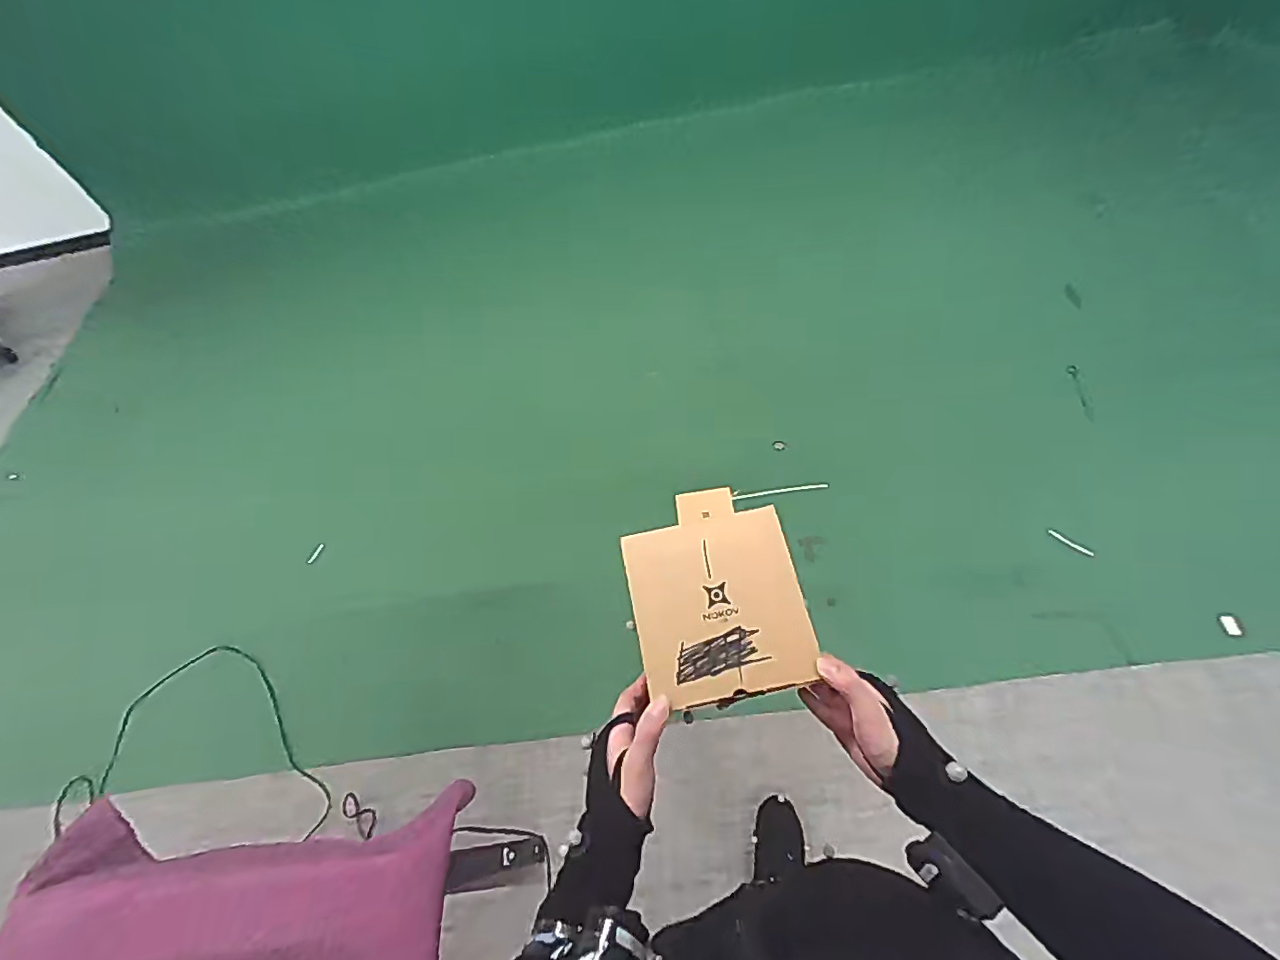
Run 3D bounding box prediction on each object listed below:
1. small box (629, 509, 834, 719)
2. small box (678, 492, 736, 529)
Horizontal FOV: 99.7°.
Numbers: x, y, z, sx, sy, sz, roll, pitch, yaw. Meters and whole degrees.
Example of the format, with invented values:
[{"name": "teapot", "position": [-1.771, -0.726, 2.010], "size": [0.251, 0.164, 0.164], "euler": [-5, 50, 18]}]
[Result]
[{"name": "small box", "position": [0.089, 0.153, 0.595], "size": [0.168, 0.176, 0.179], "euler": [-12, 66, -1]}, {"name": "small box", "position": [0.209, 0.160, 1.639], "size": [0.168, 0.176, 0.179], "euler": [-9, 58, 5]}]
